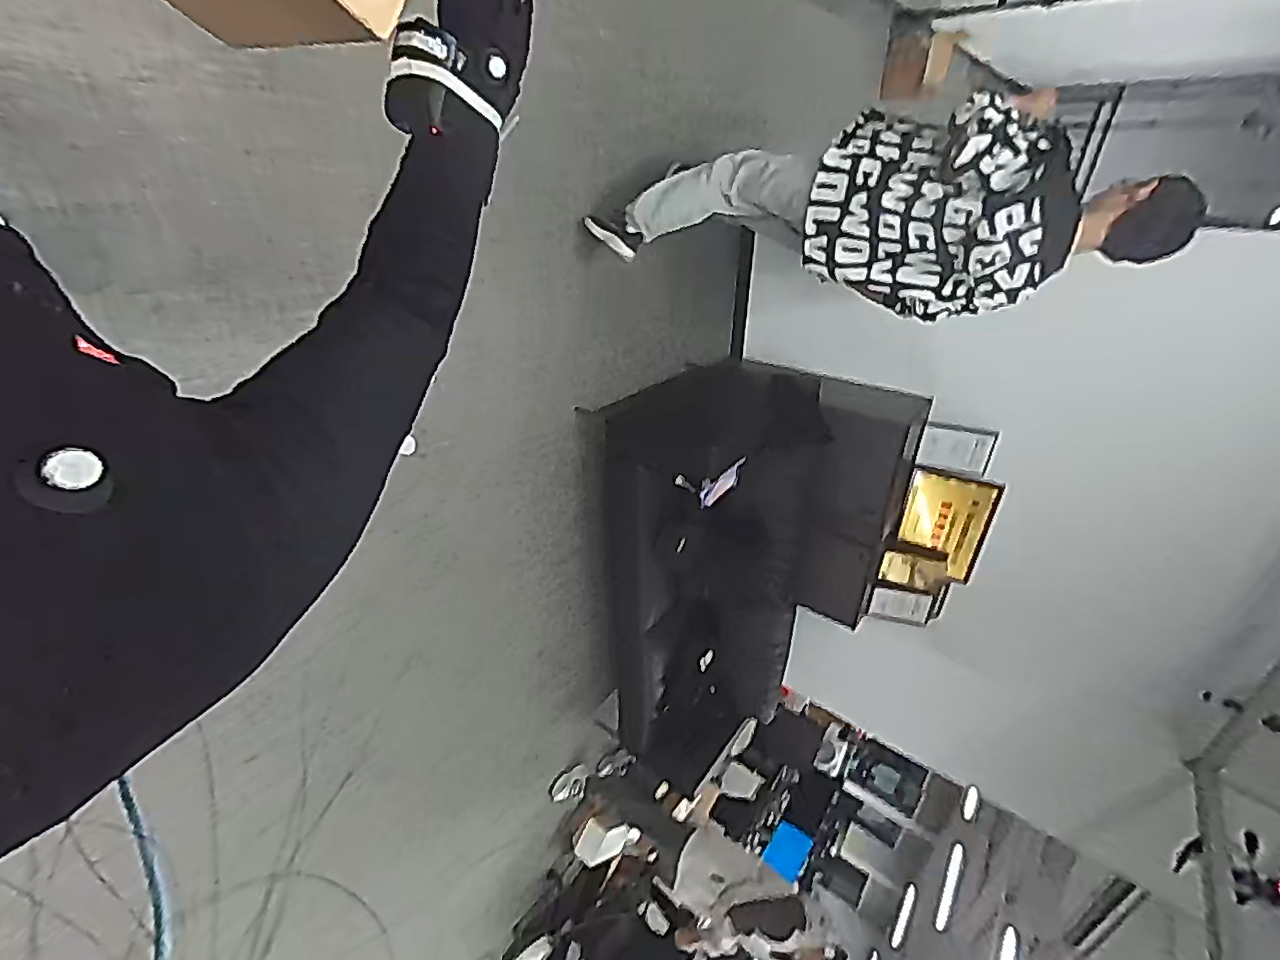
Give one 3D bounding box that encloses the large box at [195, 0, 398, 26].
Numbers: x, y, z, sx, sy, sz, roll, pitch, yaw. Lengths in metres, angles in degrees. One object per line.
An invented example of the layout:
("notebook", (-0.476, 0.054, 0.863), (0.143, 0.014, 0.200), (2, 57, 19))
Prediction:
("large box", (-0.327, -0.542, 0.269), (0.408, 0.320, 0.320), (15, 103, -58))
